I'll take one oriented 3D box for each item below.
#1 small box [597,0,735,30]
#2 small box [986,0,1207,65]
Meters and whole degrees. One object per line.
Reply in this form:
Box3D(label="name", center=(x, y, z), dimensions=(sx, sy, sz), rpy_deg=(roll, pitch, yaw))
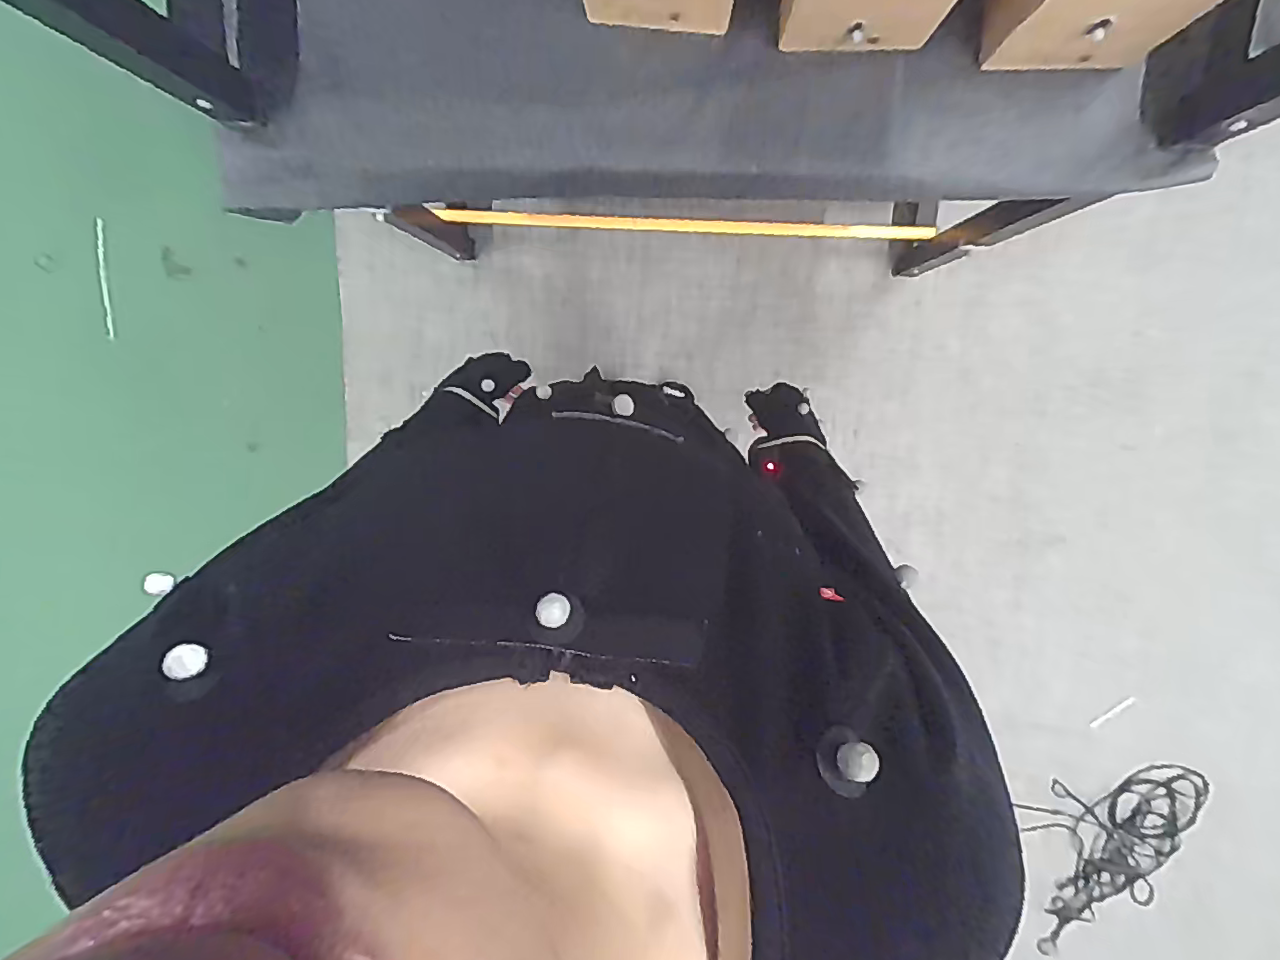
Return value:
Box3D(label="small box", center=(0.030, -0.603, 0.545), dimensions=(0.168, 0.176, 0.179), rpy_deg=(7, 101, 2))
Box3D(label="small box", center=(0.474, -0.544, 0.529), dimensions=(0.168, 0.176, 0.179), rpy_deg=(2, 100, 3))
